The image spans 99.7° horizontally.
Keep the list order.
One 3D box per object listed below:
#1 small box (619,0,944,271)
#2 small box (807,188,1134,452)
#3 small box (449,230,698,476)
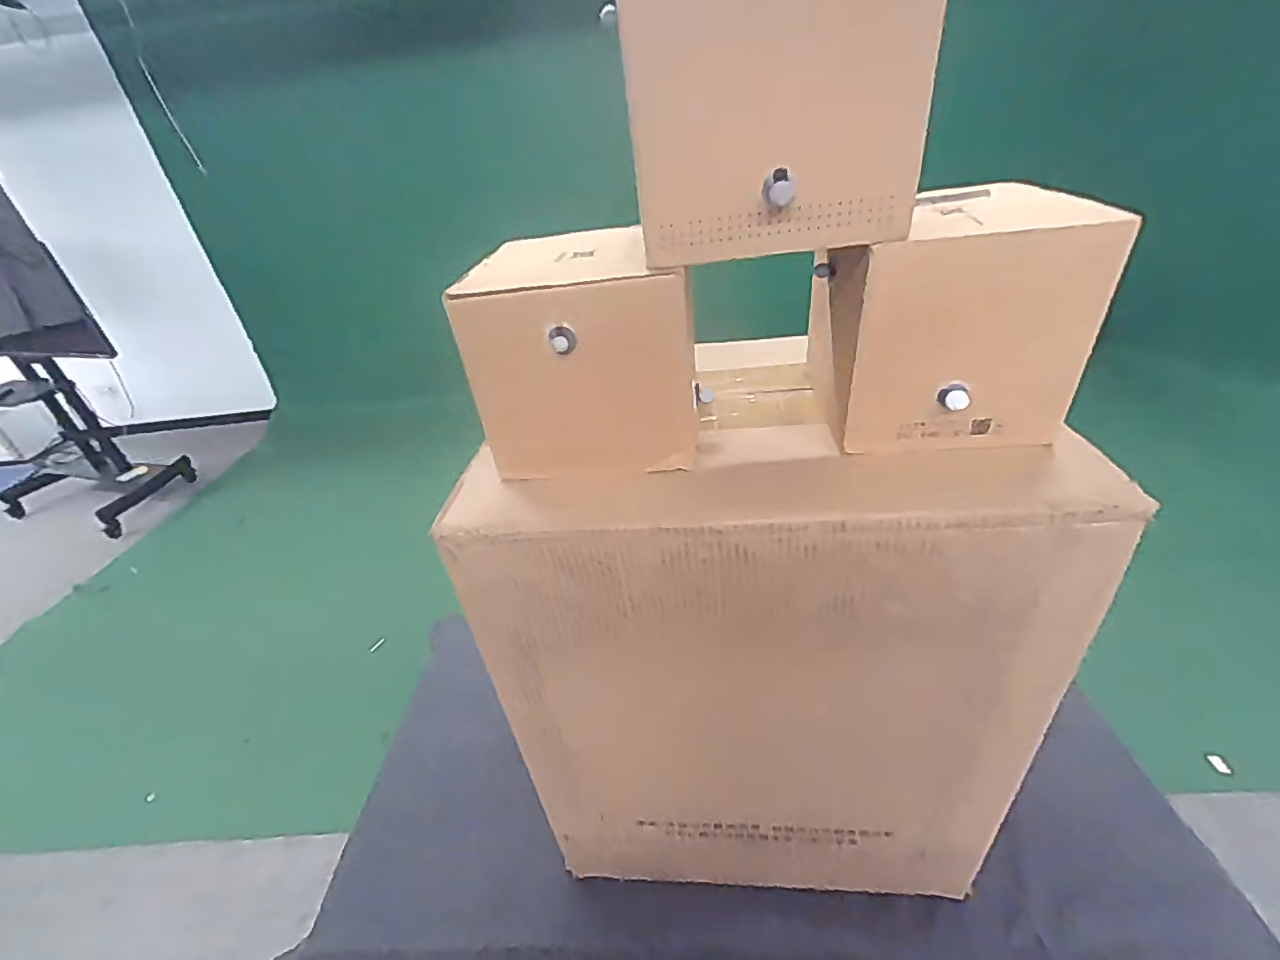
[{"bbox_3d":[0.082,-0.259,0.381,0.179,0.176,0.168,-5,36,4],"label":"small box"},{"bbox_3d":[0.245,-0.139,0.463,0.168,0.176,0.179,-2,36,7],"label":"small box"},{"bbox_3d":[-0.039,-0.114,0.487,0.179,0.176,0.168,-1,37,6],"label":"small box"}]
